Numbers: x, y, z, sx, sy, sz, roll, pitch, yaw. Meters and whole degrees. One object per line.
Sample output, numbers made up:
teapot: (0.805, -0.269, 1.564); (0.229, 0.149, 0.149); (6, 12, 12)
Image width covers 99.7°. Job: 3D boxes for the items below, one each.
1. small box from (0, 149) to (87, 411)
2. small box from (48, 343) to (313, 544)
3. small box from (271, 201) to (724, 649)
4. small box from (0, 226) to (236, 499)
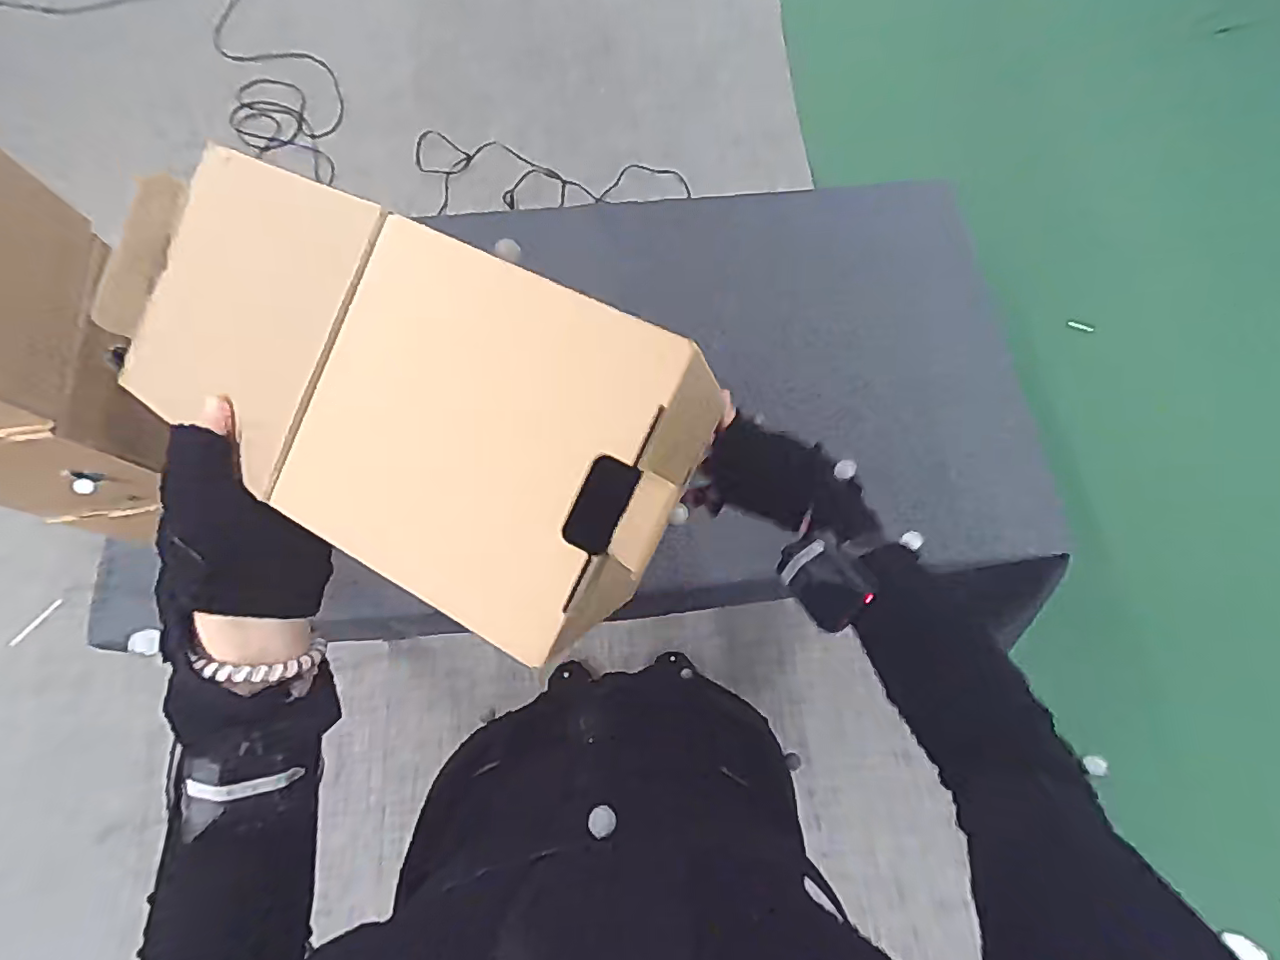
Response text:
small box: (-0.495, -0.143, 0.320); (0.168, 0.176, 0.179); (-7, 72, -5)
small box: (-0.502, -0.034, 0.628); (0.168, 0.176, 0.179); (-7, 73, -3)
small box: (-0.066, -0.029, 0.334); (0.179, 0.176, 0.168); (27, 96, 14)
small box: (-0.497, -0.087, 0.474); (0.168, 0.176, 0.179); (-6, 72, -4)
